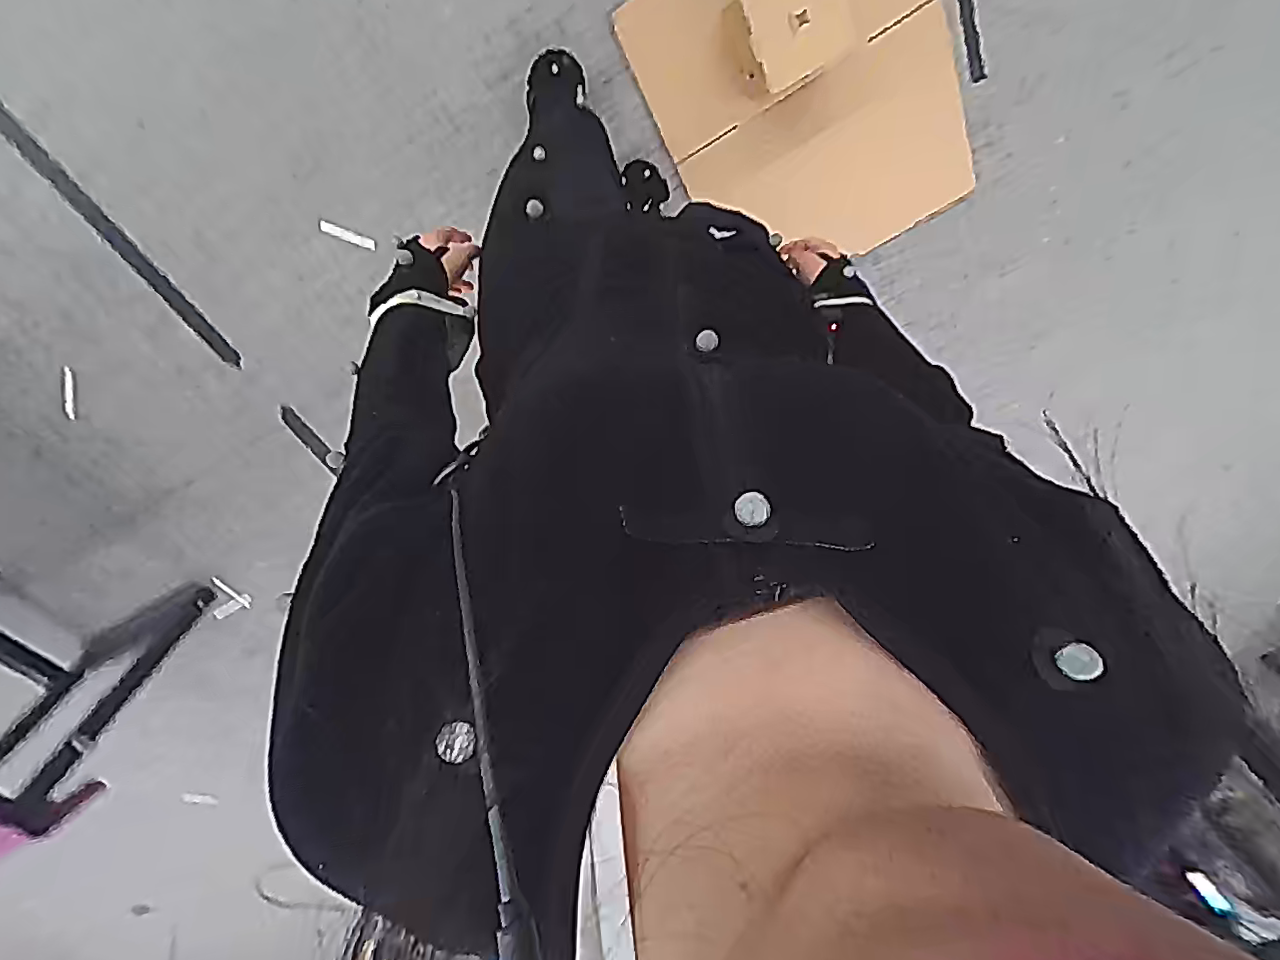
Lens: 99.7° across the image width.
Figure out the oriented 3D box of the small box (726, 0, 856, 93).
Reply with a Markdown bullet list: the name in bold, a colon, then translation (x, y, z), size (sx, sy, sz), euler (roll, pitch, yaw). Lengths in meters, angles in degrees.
- **small box**: translation (0.277, -0.871, 1.028), size (0.179, 0.176, 0.168), euler (-27, 122, 10)
